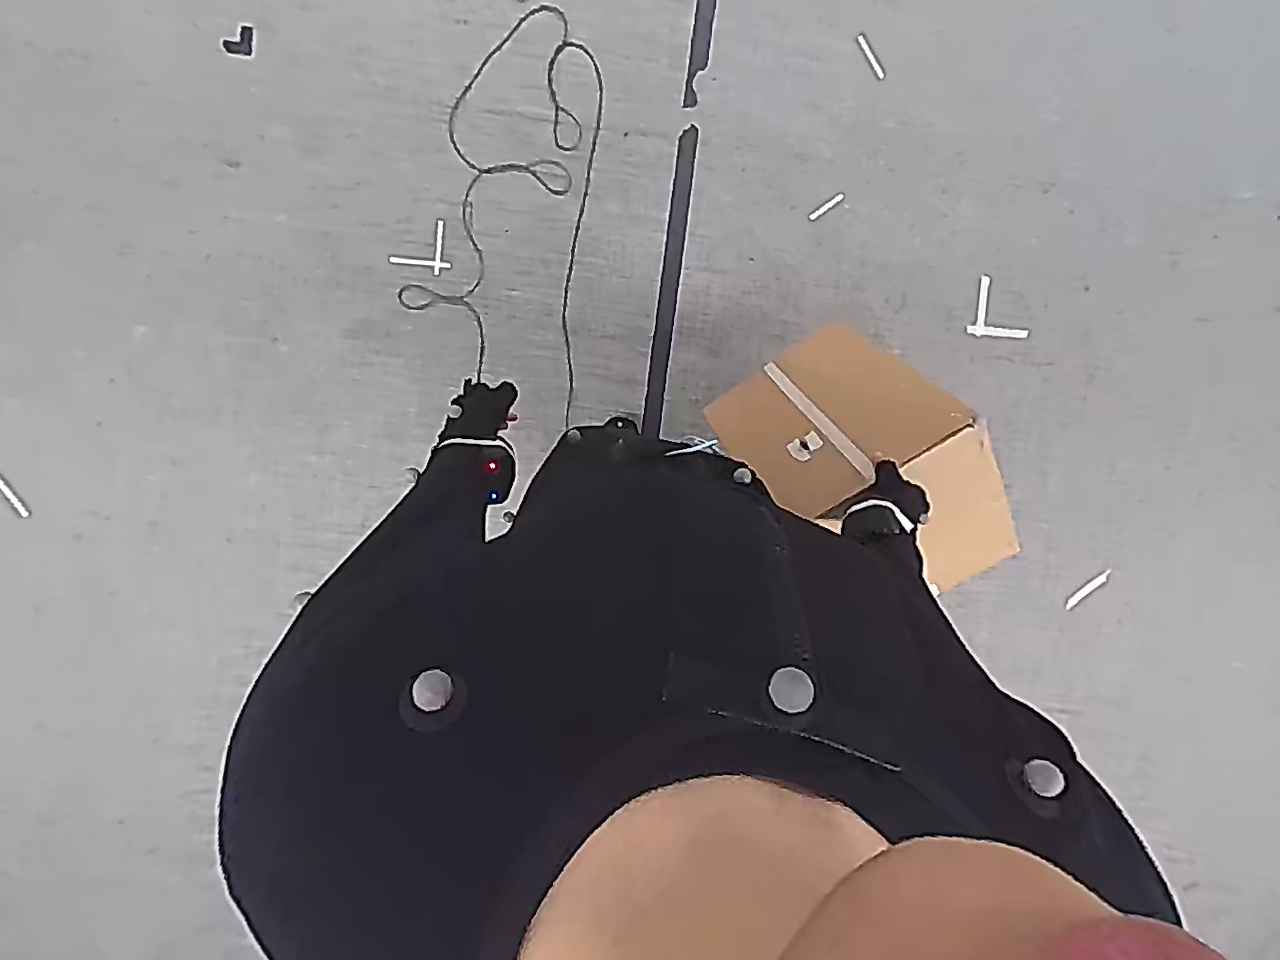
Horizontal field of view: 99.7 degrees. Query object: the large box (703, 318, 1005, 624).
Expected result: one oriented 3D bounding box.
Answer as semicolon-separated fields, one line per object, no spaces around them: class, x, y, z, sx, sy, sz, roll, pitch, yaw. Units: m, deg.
large box;0.368;-0.026;0.992;0.320;0.408;0.320;-34;126;12
